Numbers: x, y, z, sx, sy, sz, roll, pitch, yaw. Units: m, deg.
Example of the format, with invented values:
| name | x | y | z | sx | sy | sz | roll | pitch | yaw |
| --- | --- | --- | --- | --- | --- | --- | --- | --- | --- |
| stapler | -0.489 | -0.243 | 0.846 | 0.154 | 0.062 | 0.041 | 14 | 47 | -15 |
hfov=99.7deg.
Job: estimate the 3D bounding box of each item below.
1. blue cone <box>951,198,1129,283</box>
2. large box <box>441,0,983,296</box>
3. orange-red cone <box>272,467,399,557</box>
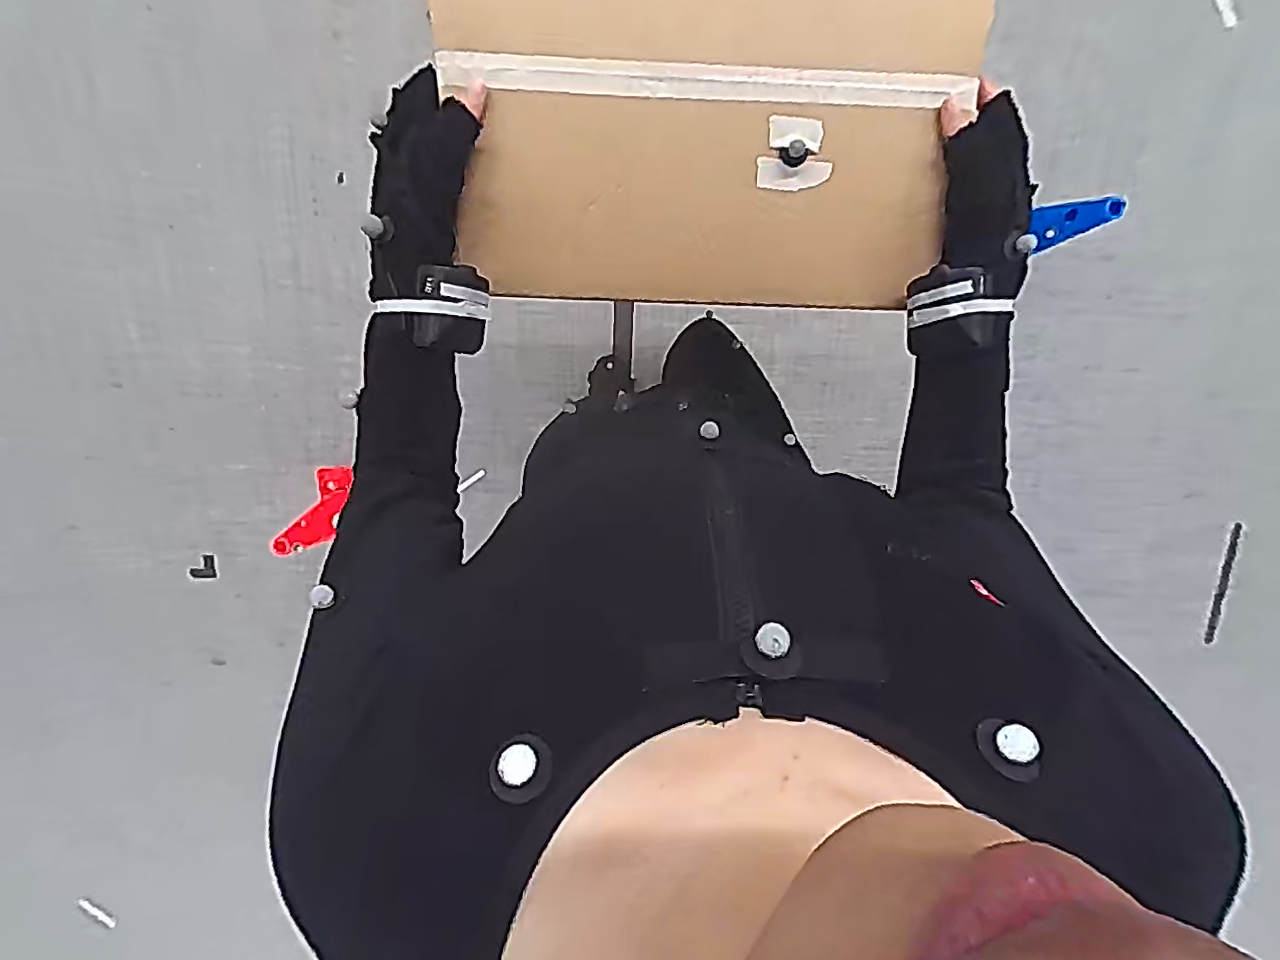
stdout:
| name | x | y | z | sx | sy | sz | roll | pitch | yaw |
| --- | --- | --- | --- | --- | --- | --- | --- | --- | --- |
| blue cone | 0.908 | -0.570 | 1.226 | 0.192 | 0.380 | 0.193 | 4 | 103 | -5 |
| large box | 0.045 | -0.360 | 0.550 | 0.408 | 0.320 | 0.320 | 1 | 112 | -3 |
| orange-red cone | -0.748 | 0.104 | 1.290 | 0.198 | 0.360 | 0.199 | -1 | 104 | -1 |
